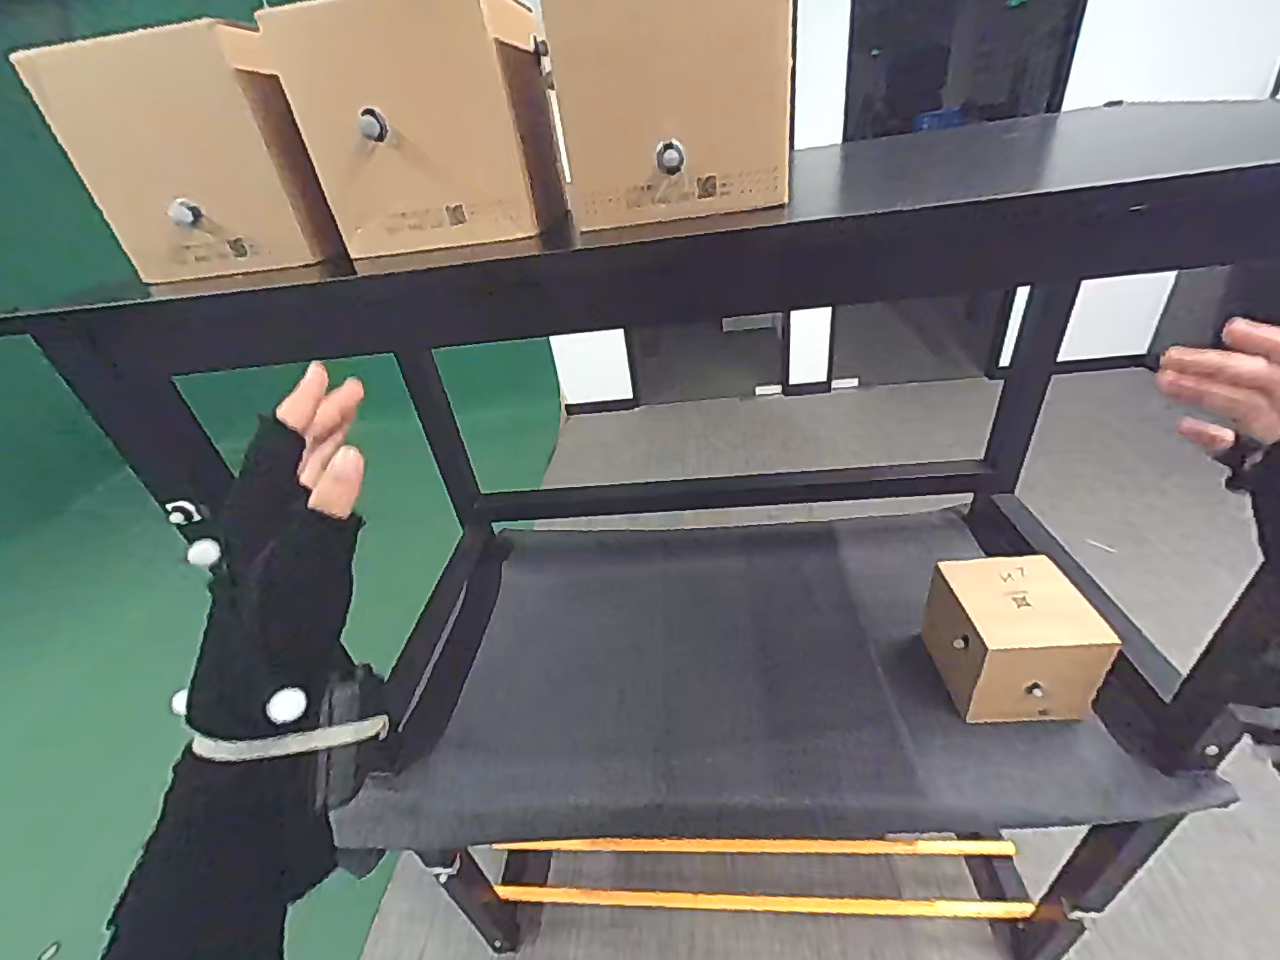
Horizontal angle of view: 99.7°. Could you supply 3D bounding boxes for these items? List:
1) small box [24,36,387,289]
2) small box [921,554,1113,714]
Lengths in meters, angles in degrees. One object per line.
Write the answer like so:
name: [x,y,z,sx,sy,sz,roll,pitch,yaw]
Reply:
small box: [-0.367,-0.289,0.507,0.168,0.176,0.179,-5,34,6]
small box: [0.554,0.238,0.825,0.168,0.176,0.179,-5,32,6]
